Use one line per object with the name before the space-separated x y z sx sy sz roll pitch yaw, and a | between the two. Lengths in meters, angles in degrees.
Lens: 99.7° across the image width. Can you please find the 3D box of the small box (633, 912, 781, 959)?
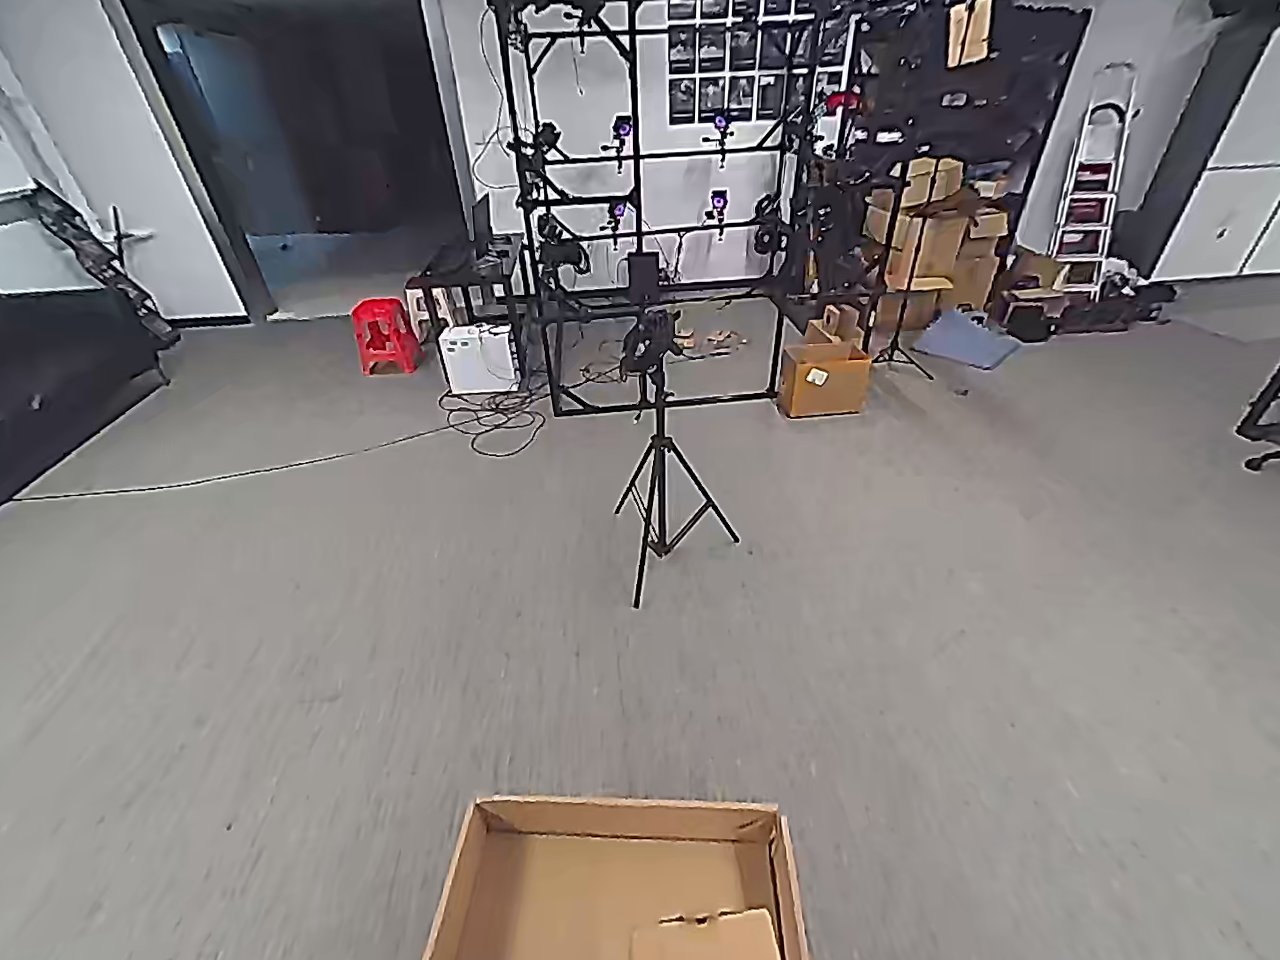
small box | 0.077 0.626 0.605 0.168 0.176 0.179 -3 36 -5
